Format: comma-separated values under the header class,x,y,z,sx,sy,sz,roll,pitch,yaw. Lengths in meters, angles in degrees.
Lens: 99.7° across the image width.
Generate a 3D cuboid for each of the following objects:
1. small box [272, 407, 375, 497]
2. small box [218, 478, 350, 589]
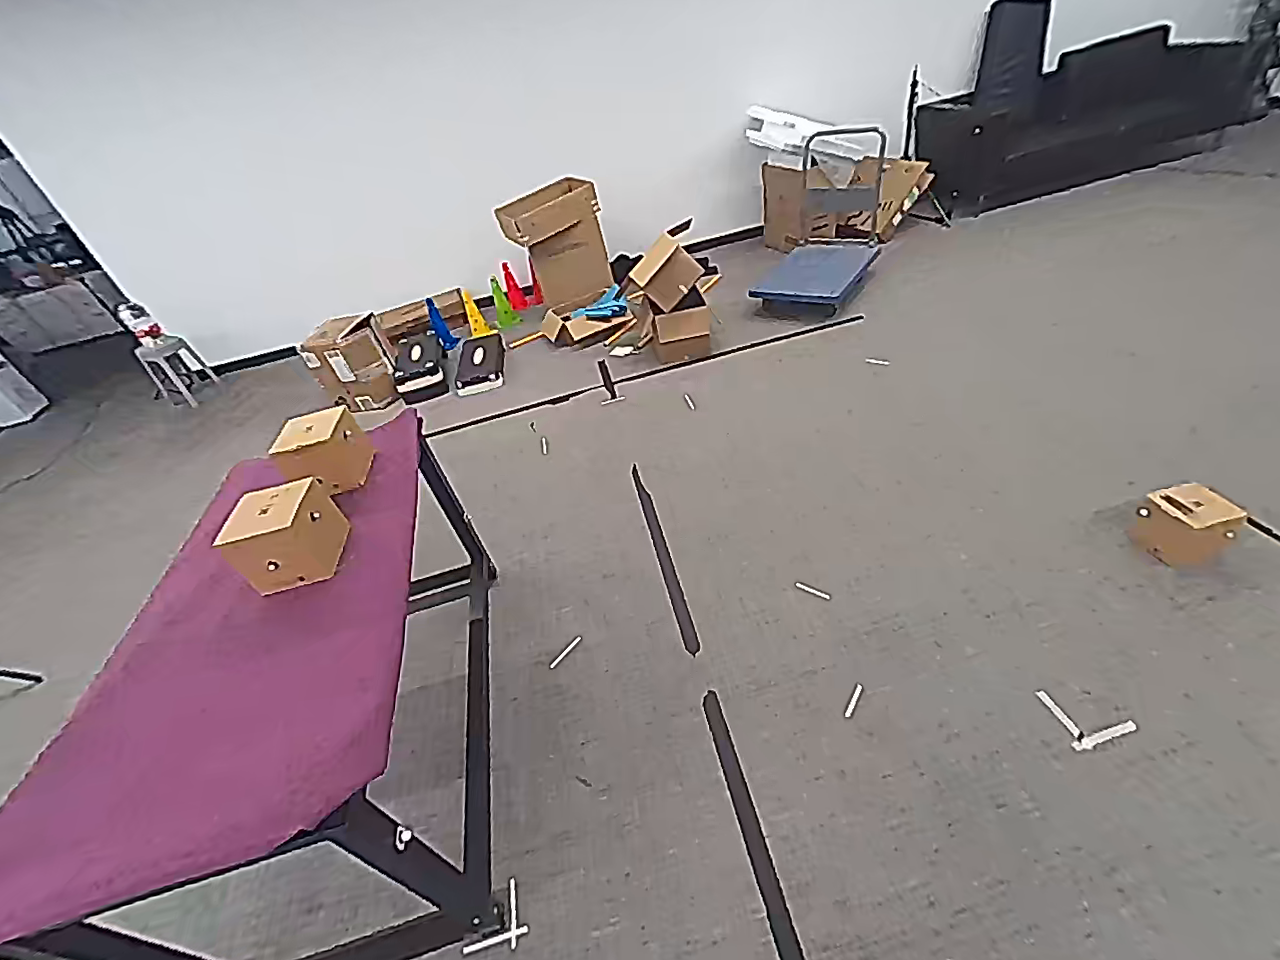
class,x,y,z,sx,sy,sz,roll,pitch,yaw
small box,-0.859,-0.072,1.491,0.168,0.176,0.179,-15,40,0
small box,-0.792,0.127,1.229,0.168,0.176,0.179,-14,38,-1
